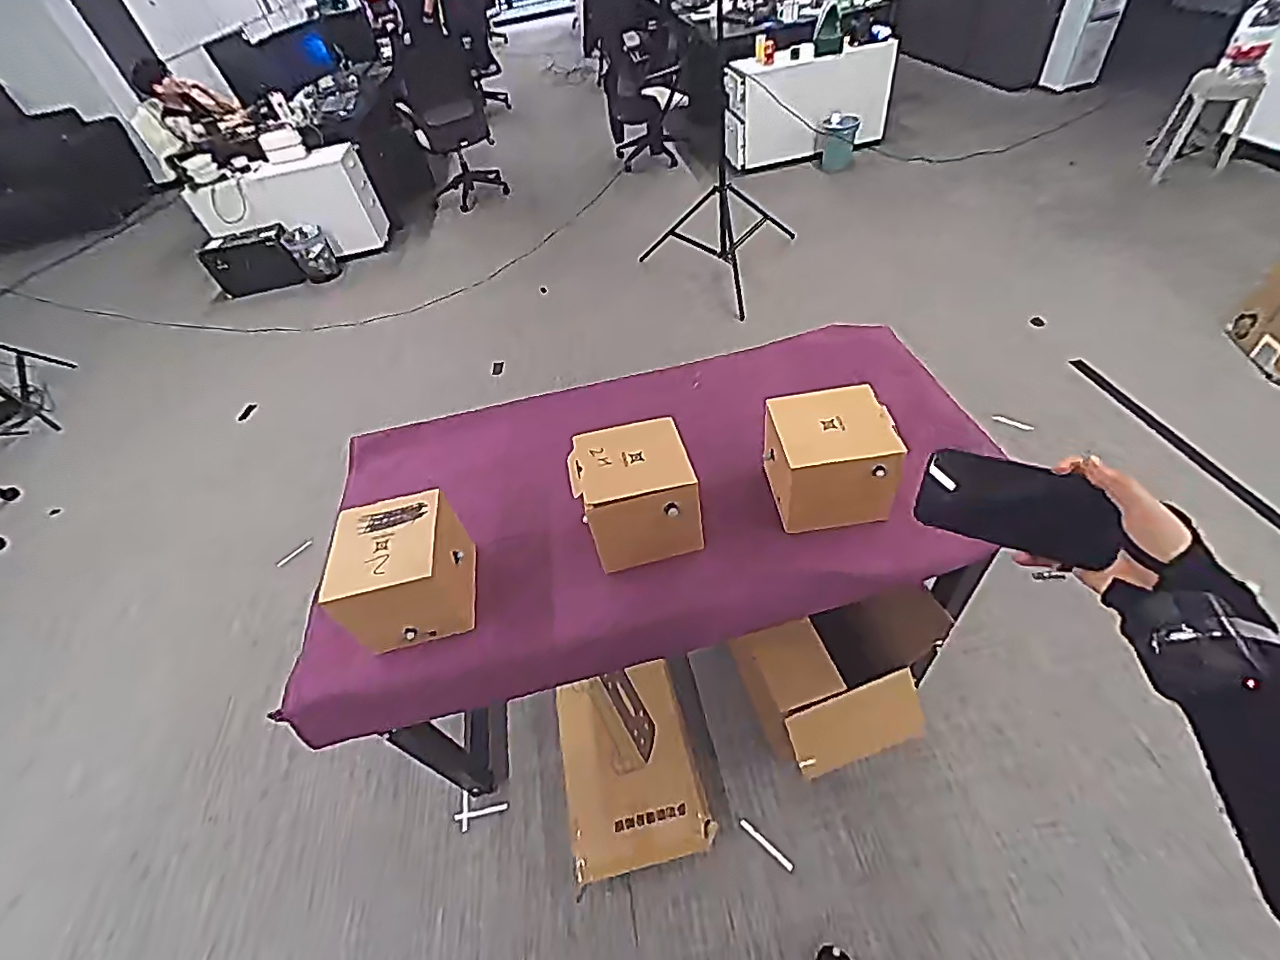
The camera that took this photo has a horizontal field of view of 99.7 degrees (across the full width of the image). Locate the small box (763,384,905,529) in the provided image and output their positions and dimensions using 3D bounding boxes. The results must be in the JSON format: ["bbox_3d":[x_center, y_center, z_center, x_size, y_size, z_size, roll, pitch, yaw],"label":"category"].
[{"bbox_3d":[0.311,-0.034,0.907,0.179,0.176,0.168,-9,47,2],"label":"small box"}]

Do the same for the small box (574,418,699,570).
[{"bbox_3d":[-0.002,0.025,0.910,0.179,0.176,0.168,-14,45,-2],"label":"small box"}]
